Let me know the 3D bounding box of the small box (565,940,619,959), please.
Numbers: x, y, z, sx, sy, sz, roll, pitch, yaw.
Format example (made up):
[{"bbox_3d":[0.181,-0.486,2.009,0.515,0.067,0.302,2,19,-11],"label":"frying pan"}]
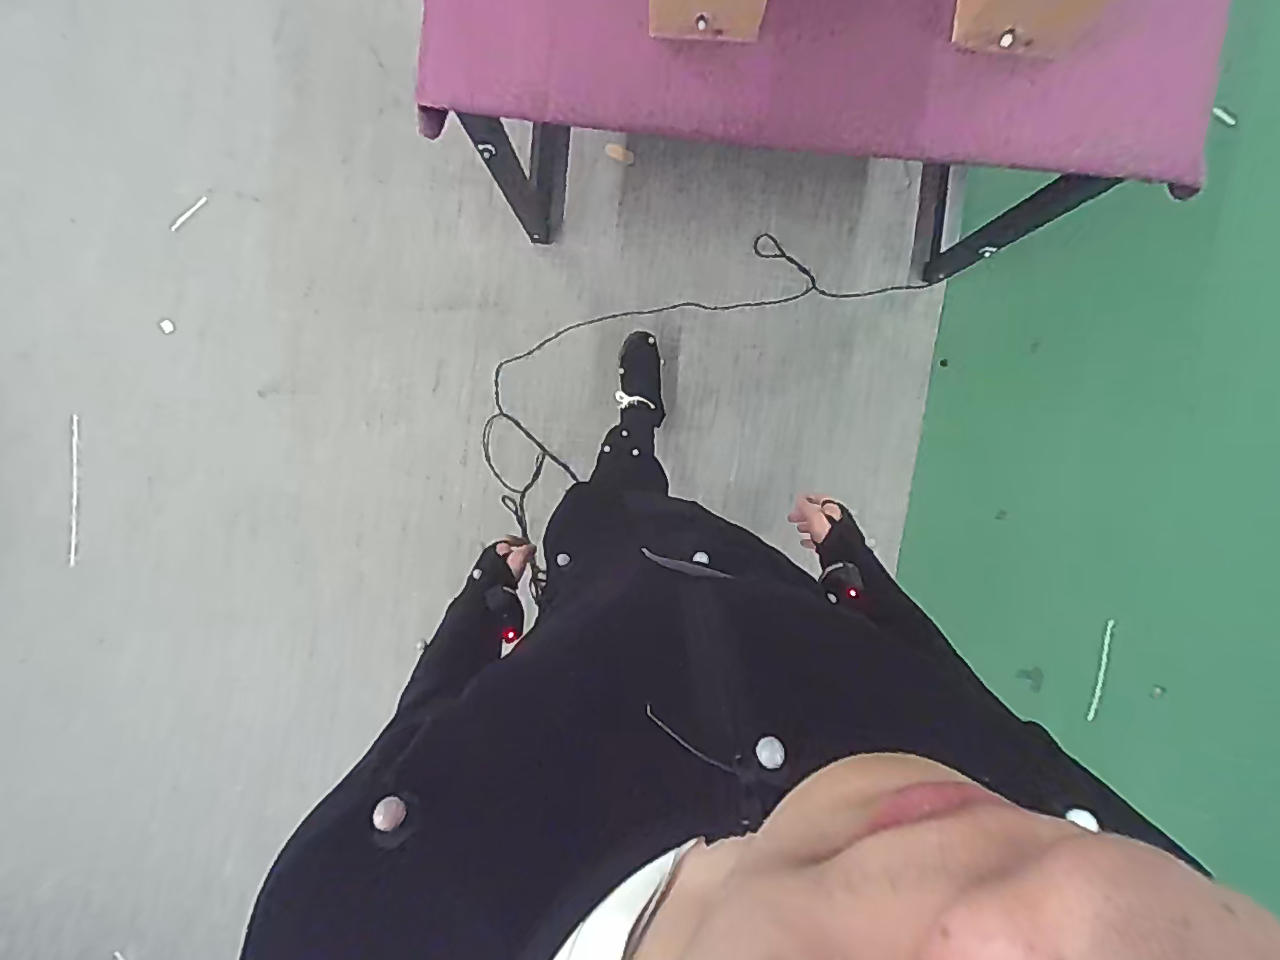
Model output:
[{"bbox_3d":[-0.149,1.548,1.630,0.168,0.176,0.179,0,95,2],"label":"small box"}]

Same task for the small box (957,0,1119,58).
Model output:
[{"bbox_3d":[0.560,-0.724,0.727,0.168,0.176,0.179,8,94,2],"label":"small box"}]
